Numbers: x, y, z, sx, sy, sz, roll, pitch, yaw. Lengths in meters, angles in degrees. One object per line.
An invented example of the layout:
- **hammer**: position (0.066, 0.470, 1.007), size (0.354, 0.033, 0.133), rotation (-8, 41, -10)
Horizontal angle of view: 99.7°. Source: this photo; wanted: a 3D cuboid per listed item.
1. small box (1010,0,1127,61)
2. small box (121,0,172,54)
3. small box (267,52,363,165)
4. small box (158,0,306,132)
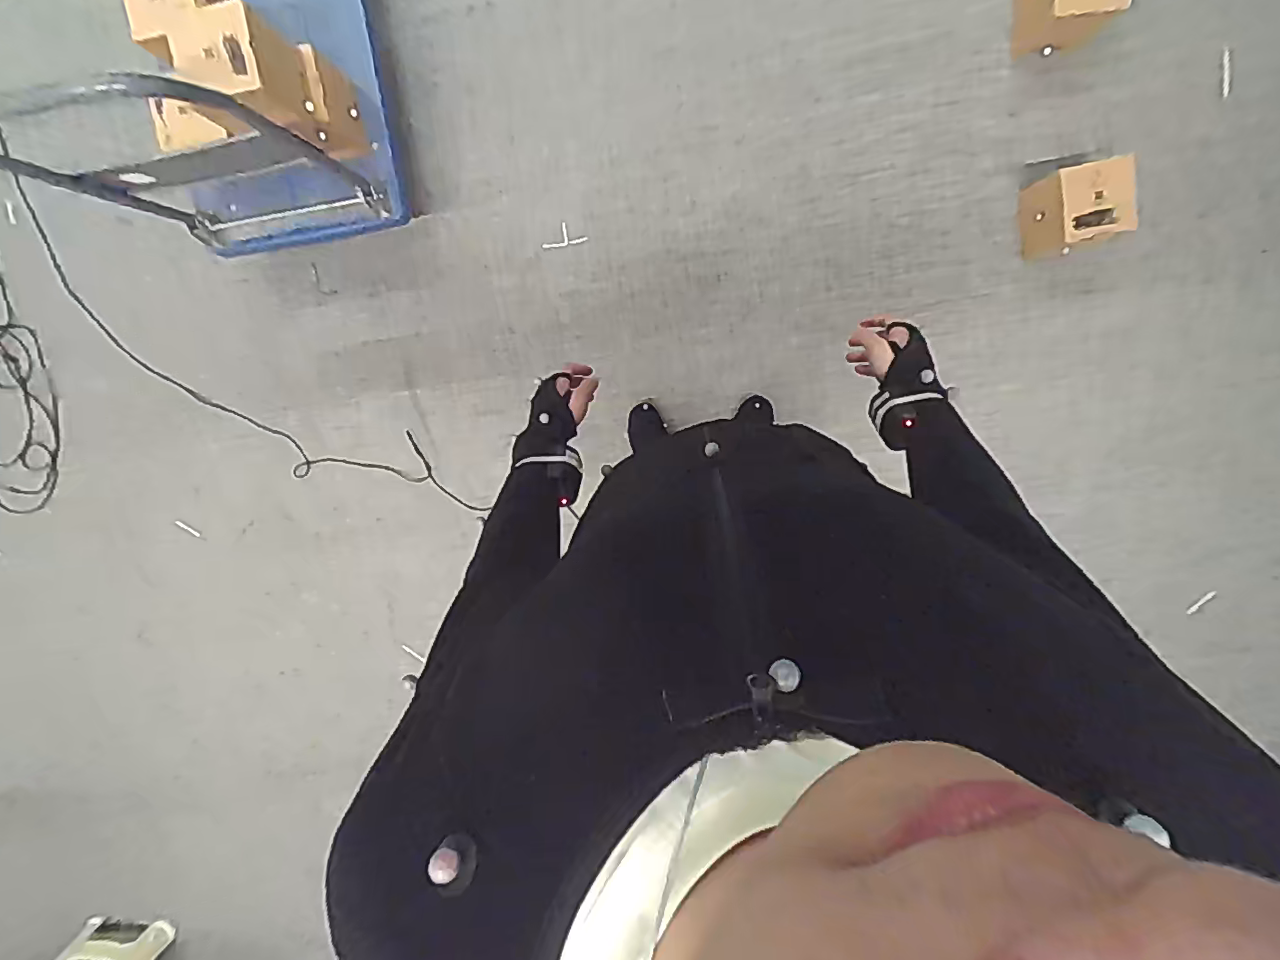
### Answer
- **small box**: position (1.028, -1.159, 1.304), size (0.168, 0.176, 0.179), rotation (-1, 99, 5)
- **small box**: position (-1.070, -1.110, 1.276), size (0.179, 0.176, 0.168), rotation (-4, 99, 4)
- **small box**: position (-0.801, -0.897, 1.300), size (0.168, 0.176, 0.179), rotation (23, 101, -2)
- **small box**: position (-0.836, -0.866, 1.133), size (0.179, 0.176, 0.168), rotation (-7, 98, 6)
